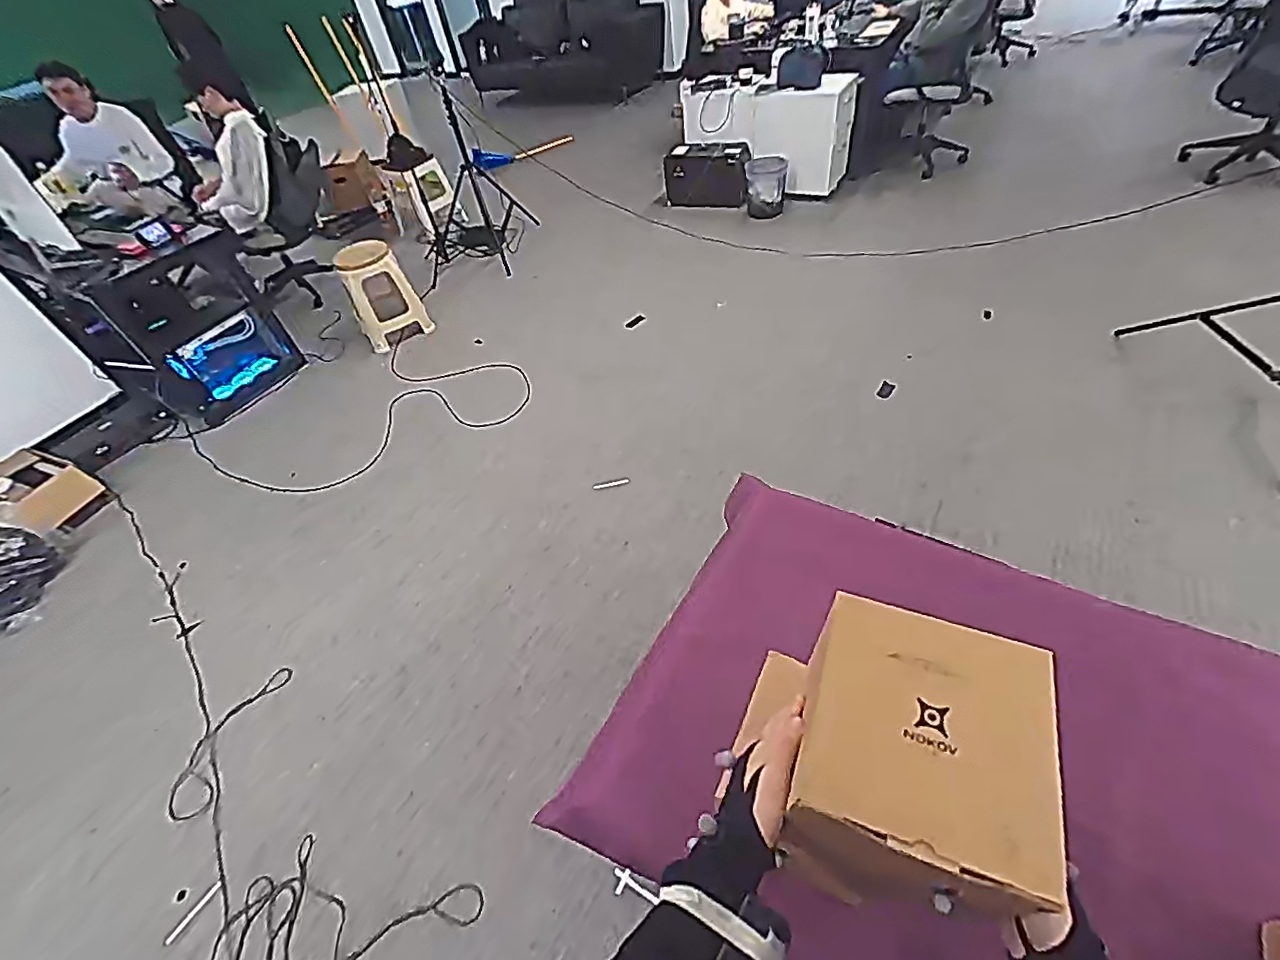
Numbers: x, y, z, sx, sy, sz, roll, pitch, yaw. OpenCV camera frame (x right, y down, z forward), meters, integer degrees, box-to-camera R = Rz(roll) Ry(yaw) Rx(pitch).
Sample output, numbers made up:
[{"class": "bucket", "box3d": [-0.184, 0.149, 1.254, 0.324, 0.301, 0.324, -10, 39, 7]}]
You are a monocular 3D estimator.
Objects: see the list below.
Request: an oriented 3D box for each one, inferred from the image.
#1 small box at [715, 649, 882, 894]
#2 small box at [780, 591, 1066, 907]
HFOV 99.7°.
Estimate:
[{"class": "small box", "box3d": [0.196, 0.335, 0.622, 0.168, 0.176, 0.179, 17, 52, 23]}, {"class": "small box", "box3d": [0.223, 0.230, 0.462, 0.168, 0.176, 0.179, 14, 52, 17]}]
